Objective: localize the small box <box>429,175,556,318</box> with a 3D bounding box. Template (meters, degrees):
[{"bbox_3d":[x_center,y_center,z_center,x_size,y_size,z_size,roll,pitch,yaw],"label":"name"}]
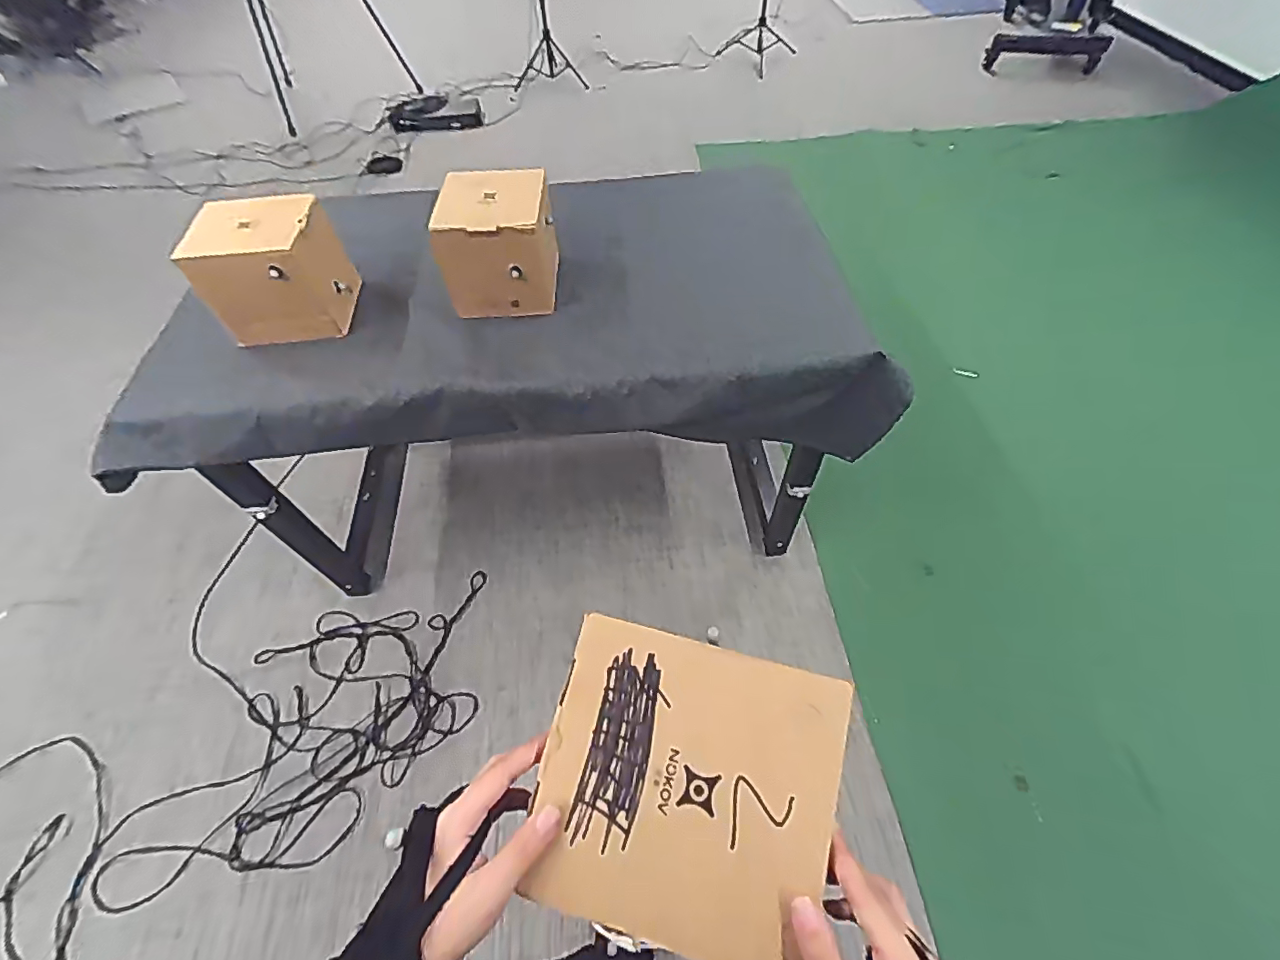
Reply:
[{"bbox_3d":[-0.238,-0.393,0.925,0.168,0.176,0.179,-2,54,-1],"label":"small box"}]

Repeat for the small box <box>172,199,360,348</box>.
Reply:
[{"bbox_3d":[-0.601,-0.337,0.898,0.179,0.176,0.168,-6,55,-3],"label":"small box"}]
